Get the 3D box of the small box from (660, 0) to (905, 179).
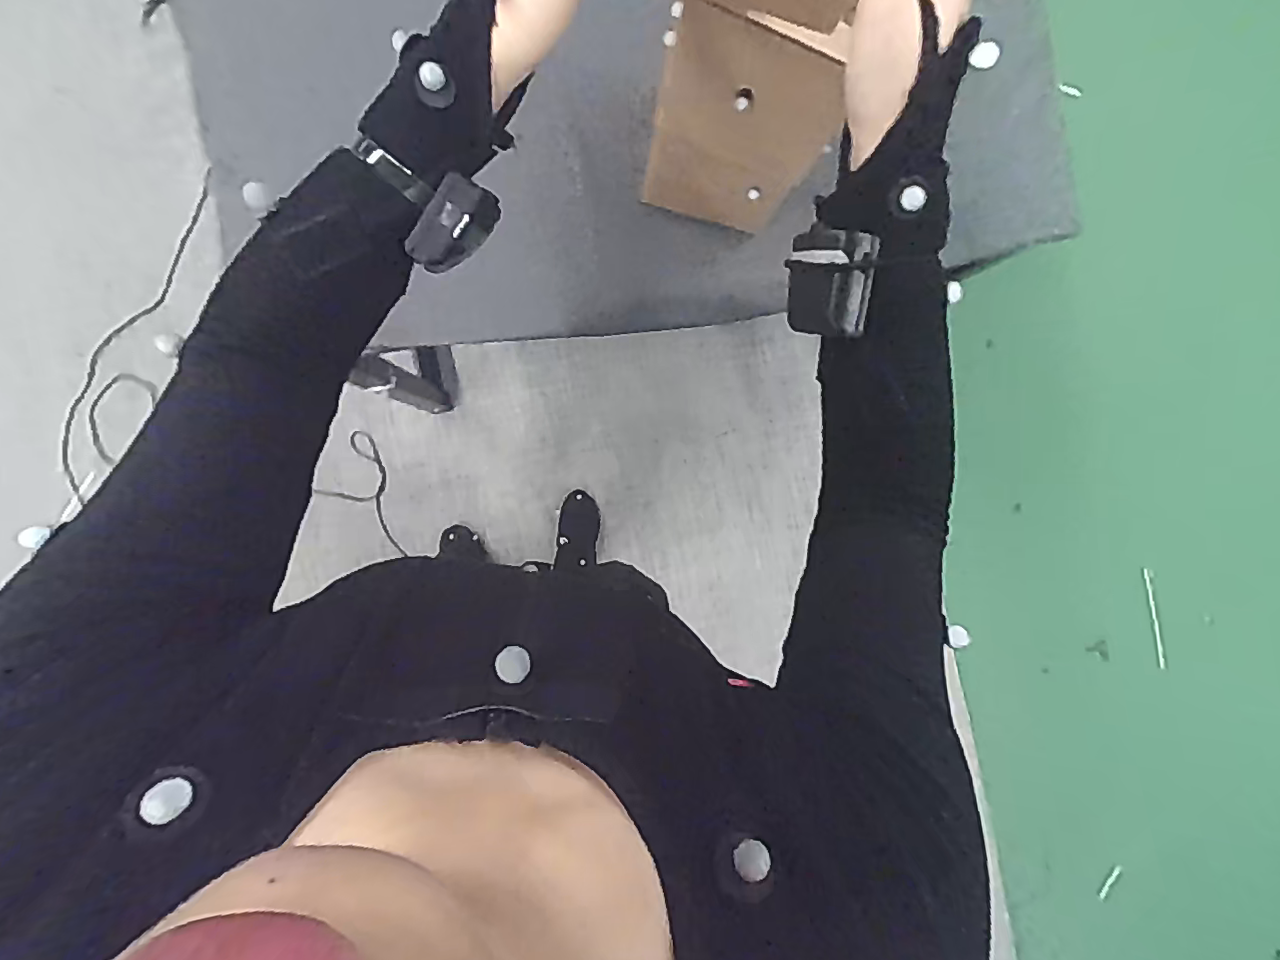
[{"bbox_3d":[0.134,-0.431,0.524,0.179,0.176,0.168,21,88,-5],"label":"small box"}]
